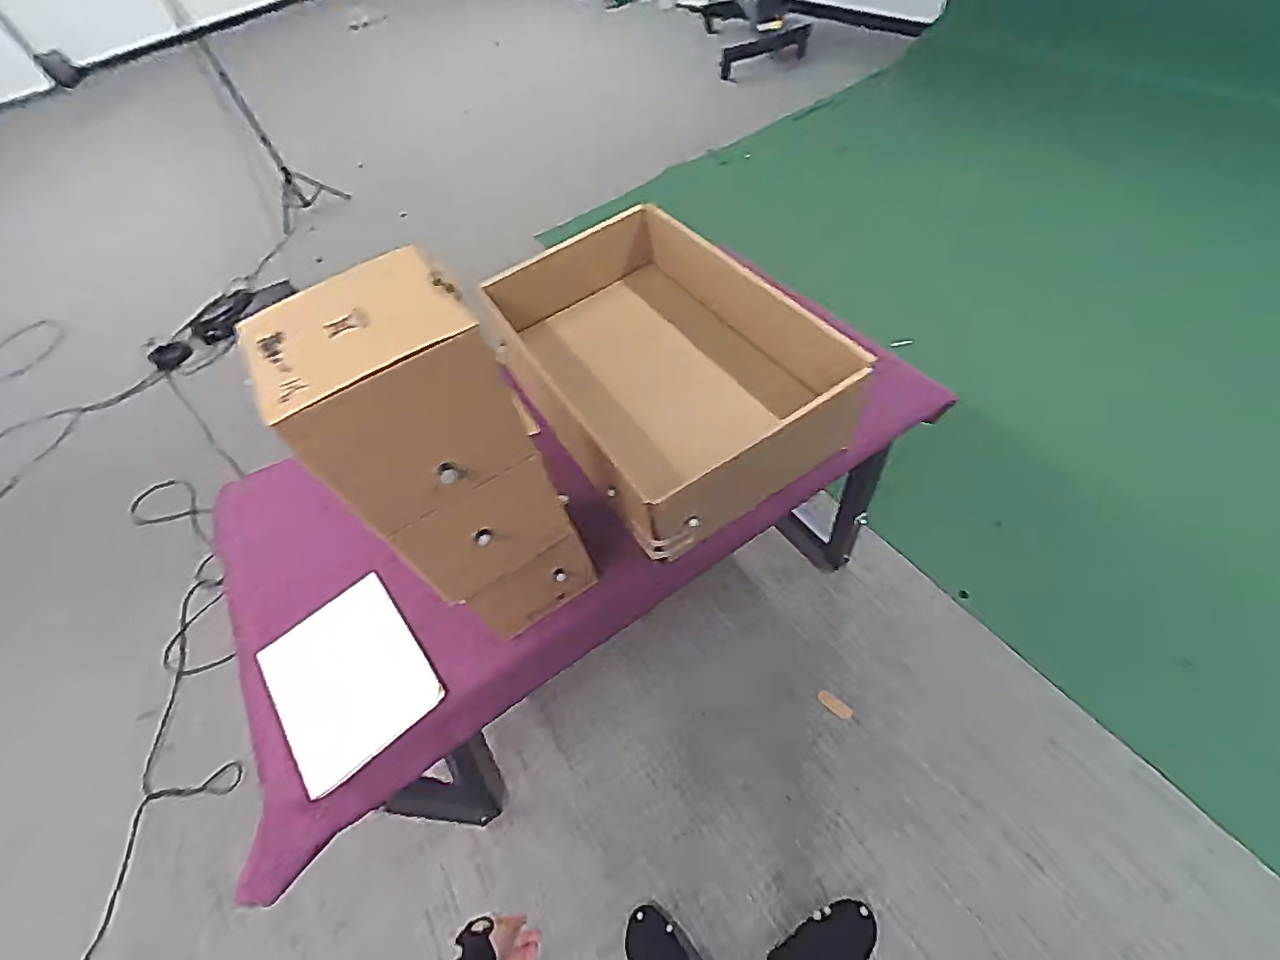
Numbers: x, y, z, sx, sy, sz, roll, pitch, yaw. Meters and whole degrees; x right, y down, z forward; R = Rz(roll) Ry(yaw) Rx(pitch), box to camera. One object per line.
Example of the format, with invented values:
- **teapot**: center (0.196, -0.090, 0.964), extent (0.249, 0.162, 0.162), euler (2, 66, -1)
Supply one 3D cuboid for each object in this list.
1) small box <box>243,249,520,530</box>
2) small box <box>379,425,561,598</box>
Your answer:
- **small box**: center (-0.234, -0.086, 0.526), extent (0.179, 0.176, 0.168), euler (-31, 54, -14)
- **small box**: center (-0.212, 0.010, 0.659), extent (0.179, 0.176, 0.168), euler (-31, 55, -12)
